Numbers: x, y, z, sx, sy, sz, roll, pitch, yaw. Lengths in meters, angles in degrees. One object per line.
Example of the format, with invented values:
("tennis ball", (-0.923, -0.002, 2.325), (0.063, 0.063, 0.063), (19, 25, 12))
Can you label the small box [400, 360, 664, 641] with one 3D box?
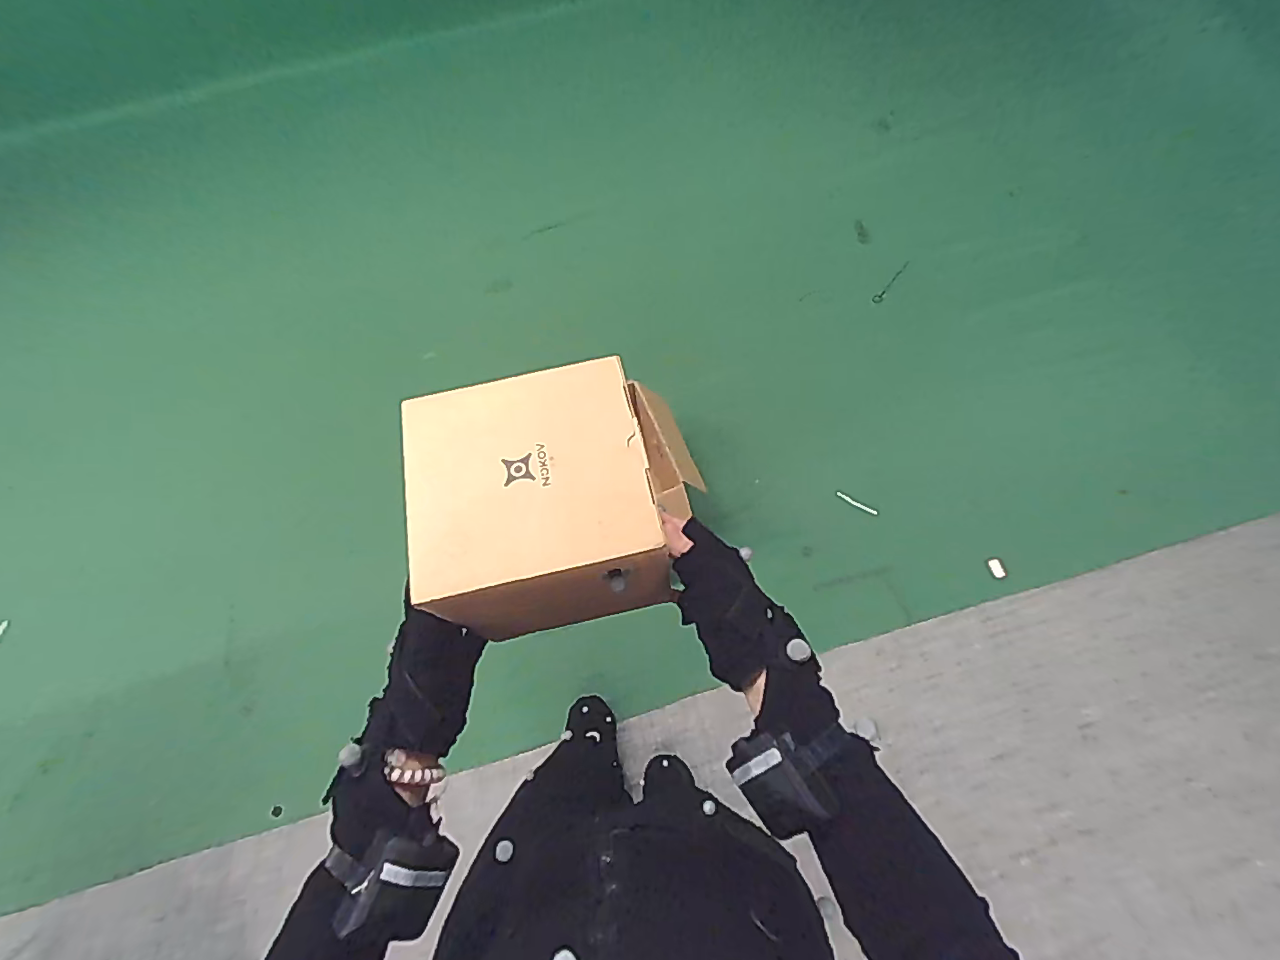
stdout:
("small box", (-0.081, 0.029, 0.463), (0.179, 0.176, 0.168), (-13, 64, -3))
